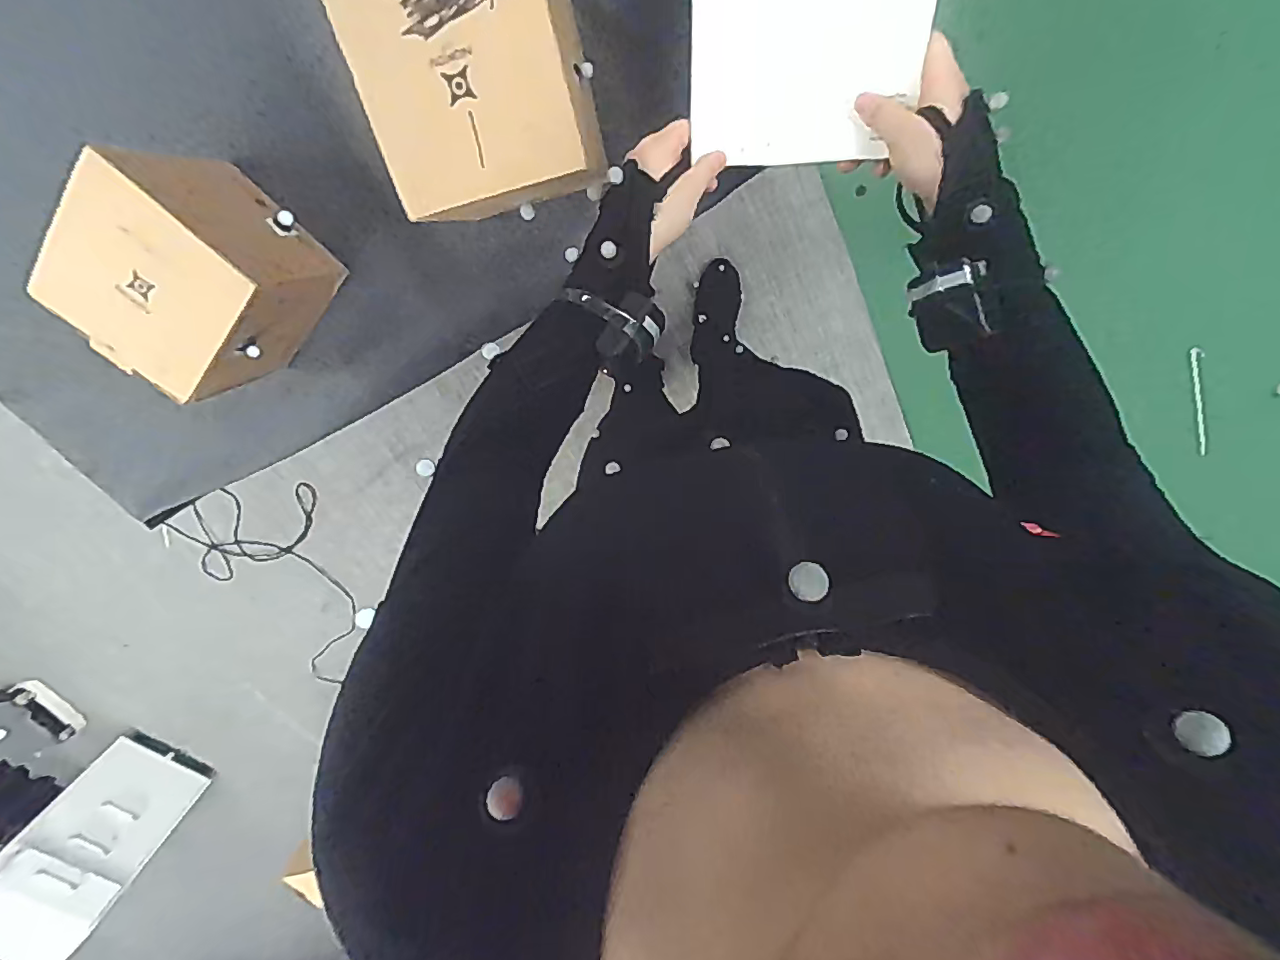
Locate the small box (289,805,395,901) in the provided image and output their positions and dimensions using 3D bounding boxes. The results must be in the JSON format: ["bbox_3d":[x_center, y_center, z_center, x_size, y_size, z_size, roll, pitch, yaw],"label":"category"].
[{"bbox_3d":[-0.868,1.095,1.592,0.179,0.176,0.168,-23,114,17],"label":"small box"}]

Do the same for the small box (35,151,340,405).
[{"bbox_3d":[-0.473,-0.218,0.594,0.168,0.176,0.179,42,111,-17],"label":"small box"}]

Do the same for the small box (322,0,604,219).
[{"bbox_3d":[-0.140,-0.352,0.495,0.168,0.176,0.179,-11,116,11],"label":"small box"}]
